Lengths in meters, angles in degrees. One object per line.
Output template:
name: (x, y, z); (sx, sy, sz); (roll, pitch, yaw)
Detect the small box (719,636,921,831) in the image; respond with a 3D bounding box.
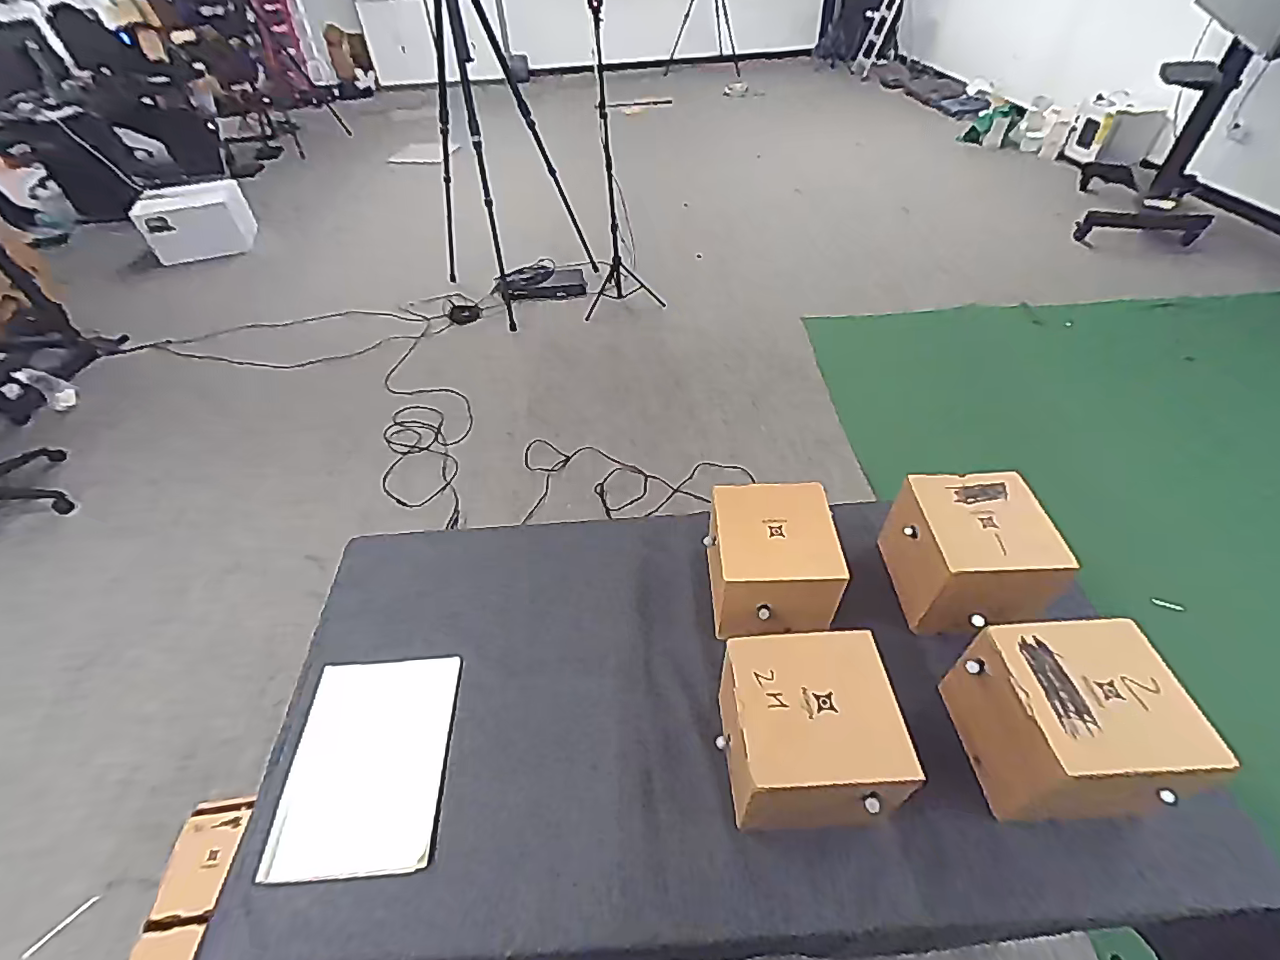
small box: (0.195, 0.304, 0.646); (0.179, 0.176, 0.168); (-4, 44, 1)

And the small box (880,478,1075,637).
small box: (0.483, 0.117, 0.812); (0.168, 0.176, 0.179); (-2, 46, 2)

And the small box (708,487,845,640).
small box: (0.193, 0.131, 0.821); (0.168, 0.176, 0.179); (-2, 45, 2)
